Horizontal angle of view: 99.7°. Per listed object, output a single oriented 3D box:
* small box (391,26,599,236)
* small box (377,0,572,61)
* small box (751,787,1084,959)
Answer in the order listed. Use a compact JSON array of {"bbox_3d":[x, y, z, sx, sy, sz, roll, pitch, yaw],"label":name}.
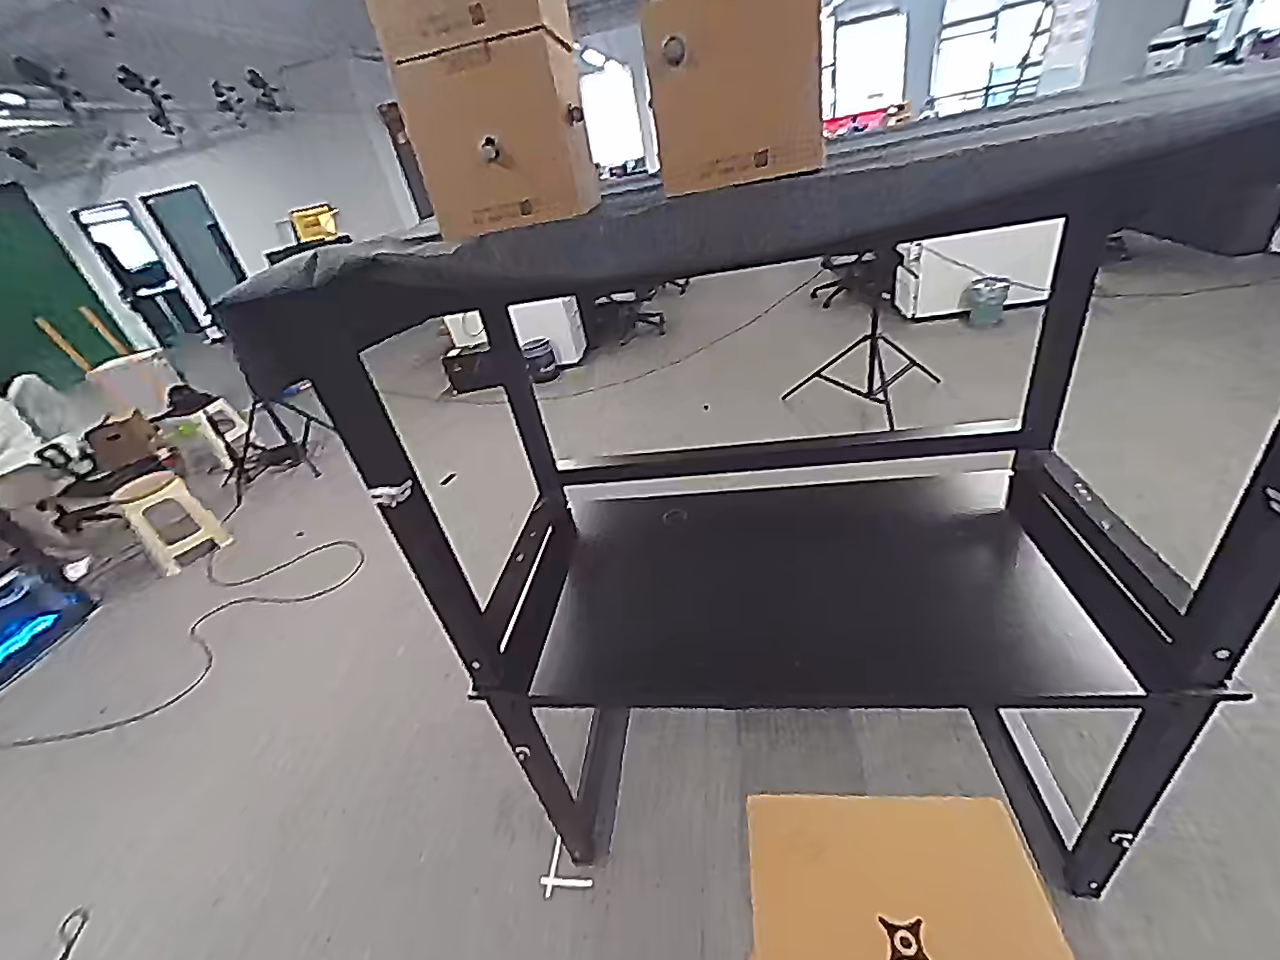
[{"bbox_3d":[-0.149,-0.394,0.633,0.168,0.176,0.179,-6,31,8],"label":"small box"},{"bbox_3d":[-0.176,-0.534,0.551,0.168,0.176,0.179,-7,31,9],"label":"small box"},{"bbox_3d":[0.157,0.319,0.324,0.168,0.176,0.179,-6,28,11],"label":"small box"}]
